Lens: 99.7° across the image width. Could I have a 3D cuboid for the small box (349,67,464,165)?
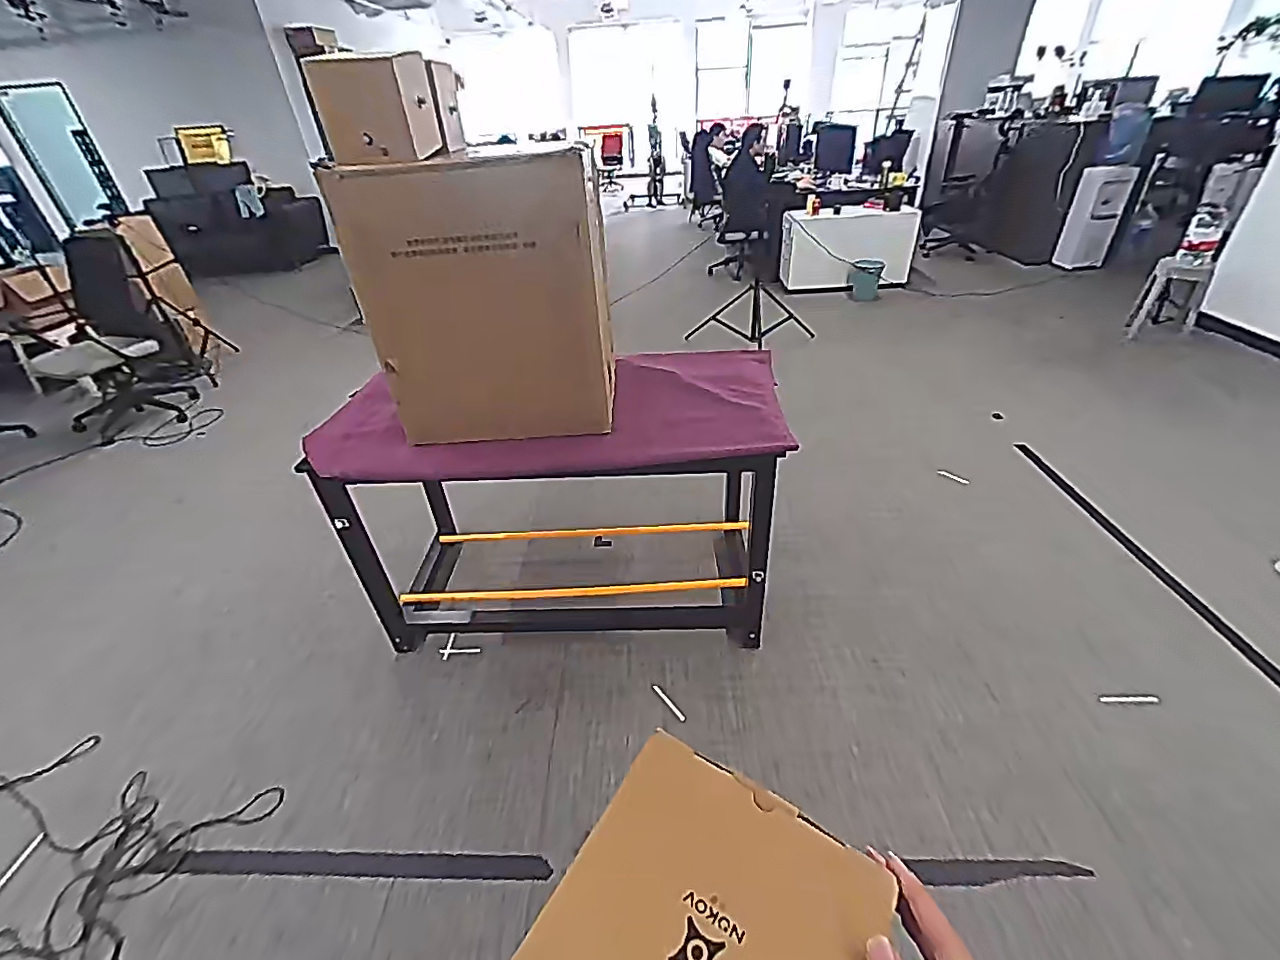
[{"bbox_3d":[-0.513,-0.822,1.223,0.179,0.176,0.168,-3,34,0],"label":"small box"}]
